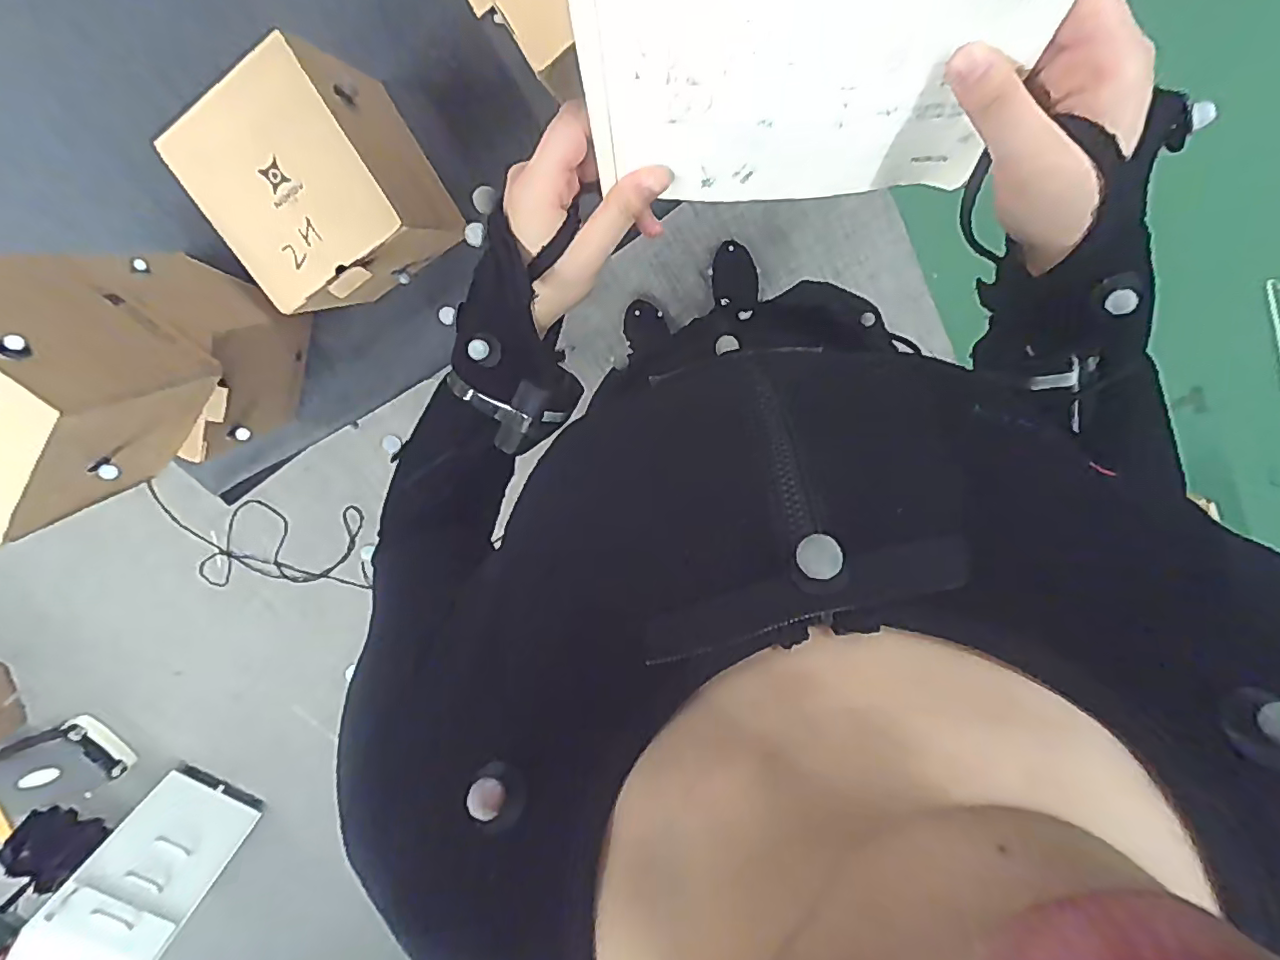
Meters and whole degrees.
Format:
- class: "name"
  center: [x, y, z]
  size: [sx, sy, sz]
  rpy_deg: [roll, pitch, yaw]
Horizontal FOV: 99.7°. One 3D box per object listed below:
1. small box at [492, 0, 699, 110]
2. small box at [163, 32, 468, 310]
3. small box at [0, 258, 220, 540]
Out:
- class: "small box"
  center: [-0.051, -0.472, 0.473]
  size: [0.179, 0.176, 0.168]
  rpy_deg: [-30, 107, 18]
- class: "small box"
  center: [-0.319, -0.303, 0.571]
  size: [0.168, 0.176, 0.179]
  rpy_deg: [-26, 109, 16]
- class: "small box"
  center: [-0.554, -0.083, 0.509]
  size: [0.168, 0.176, 0.179]
  rpy_deg: [41, 112, -13]
